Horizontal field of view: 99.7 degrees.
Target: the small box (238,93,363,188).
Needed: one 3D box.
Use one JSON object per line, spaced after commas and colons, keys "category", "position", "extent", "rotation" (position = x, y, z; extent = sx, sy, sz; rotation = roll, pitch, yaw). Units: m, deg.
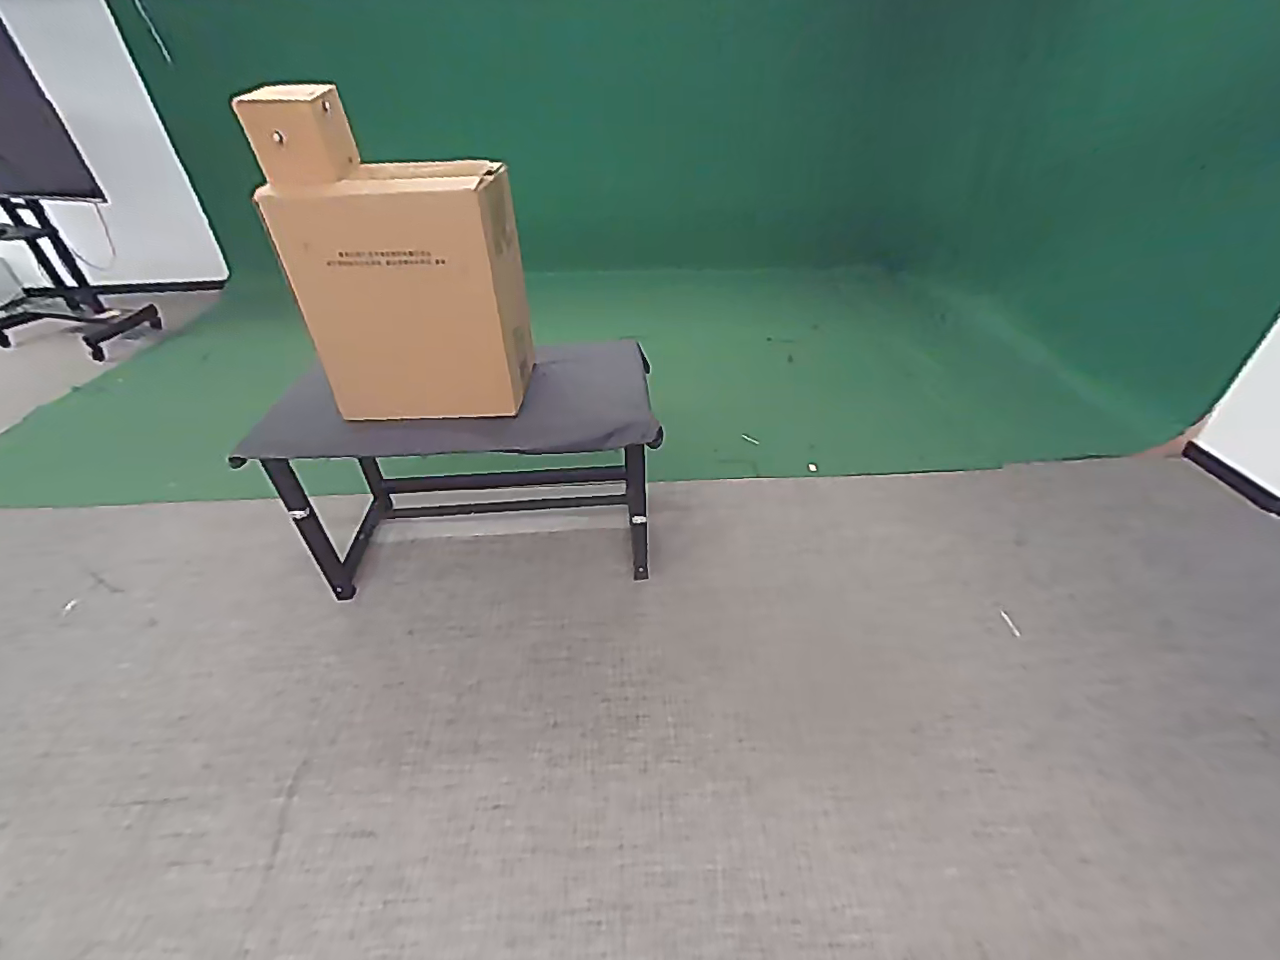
{"category": "small box", "position": [-0.823, -0.833, 1.331], "extent": [0.179, 0.176, 0.168], "rotation": [-2, 46, 0]}
